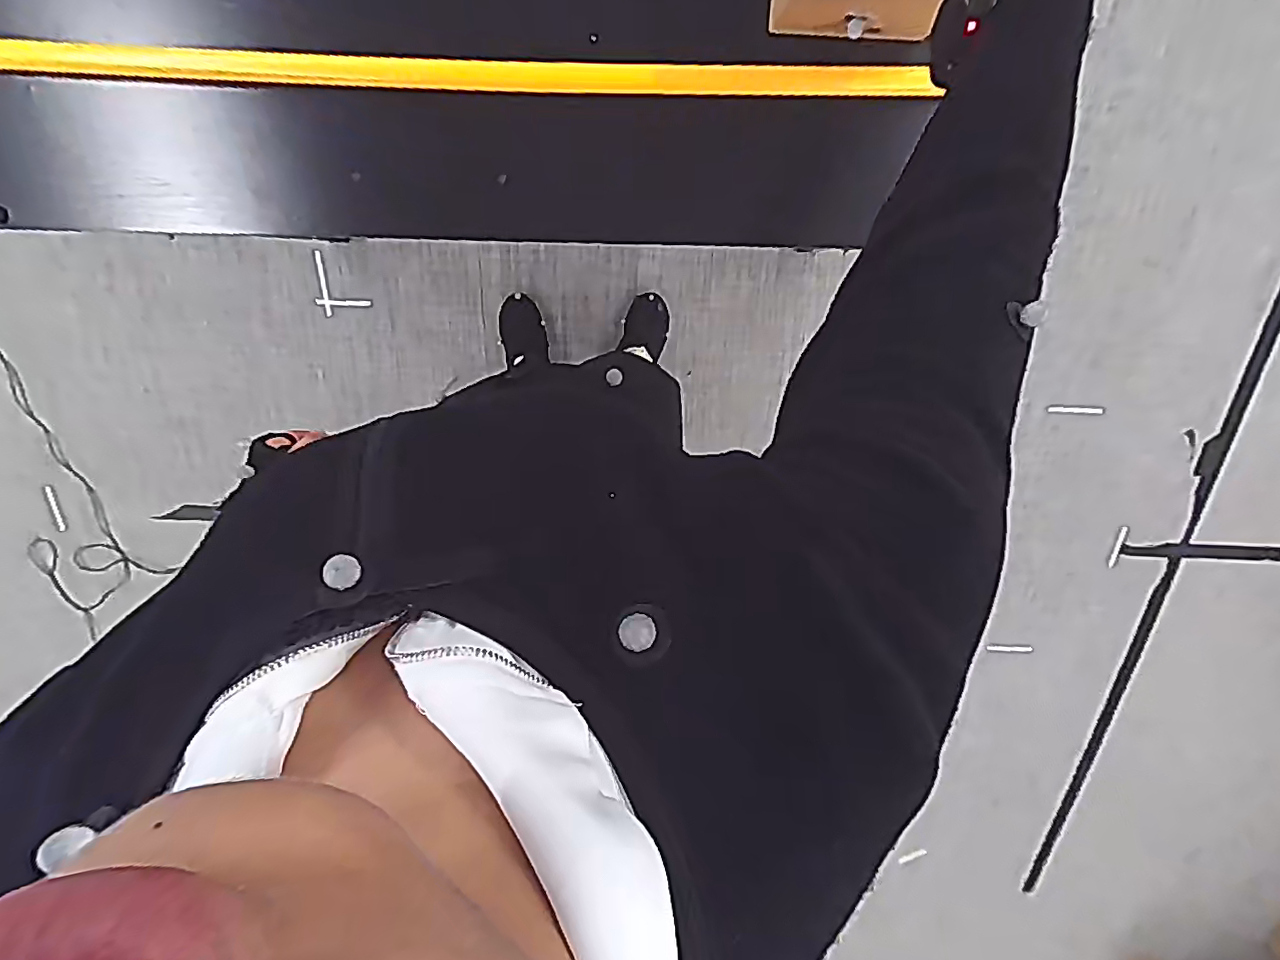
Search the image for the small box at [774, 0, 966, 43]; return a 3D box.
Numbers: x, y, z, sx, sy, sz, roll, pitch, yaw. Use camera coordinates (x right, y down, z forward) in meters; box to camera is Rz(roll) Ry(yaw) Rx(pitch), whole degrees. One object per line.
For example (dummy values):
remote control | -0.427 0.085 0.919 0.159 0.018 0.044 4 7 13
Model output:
small box | 0.223 -0.523 0.469 0.168 0.176 0.179 3 112 -1
